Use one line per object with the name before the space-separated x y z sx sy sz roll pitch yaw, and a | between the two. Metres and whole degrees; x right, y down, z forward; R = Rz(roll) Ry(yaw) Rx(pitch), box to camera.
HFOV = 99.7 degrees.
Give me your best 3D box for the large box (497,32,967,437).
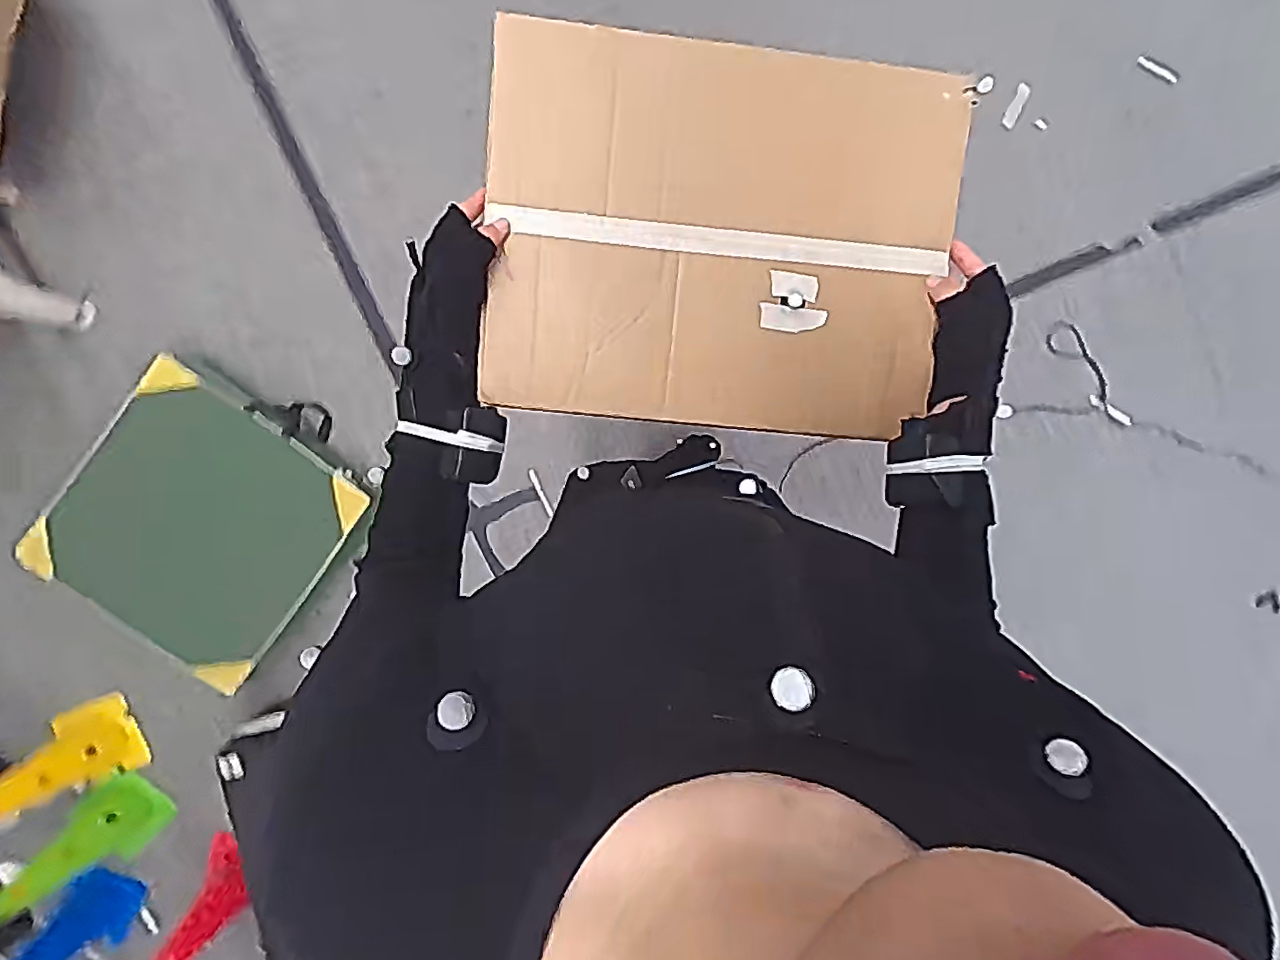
large box | 0.069 -0.228 0.629 0.408 0.320 0.320 6 98 -4
